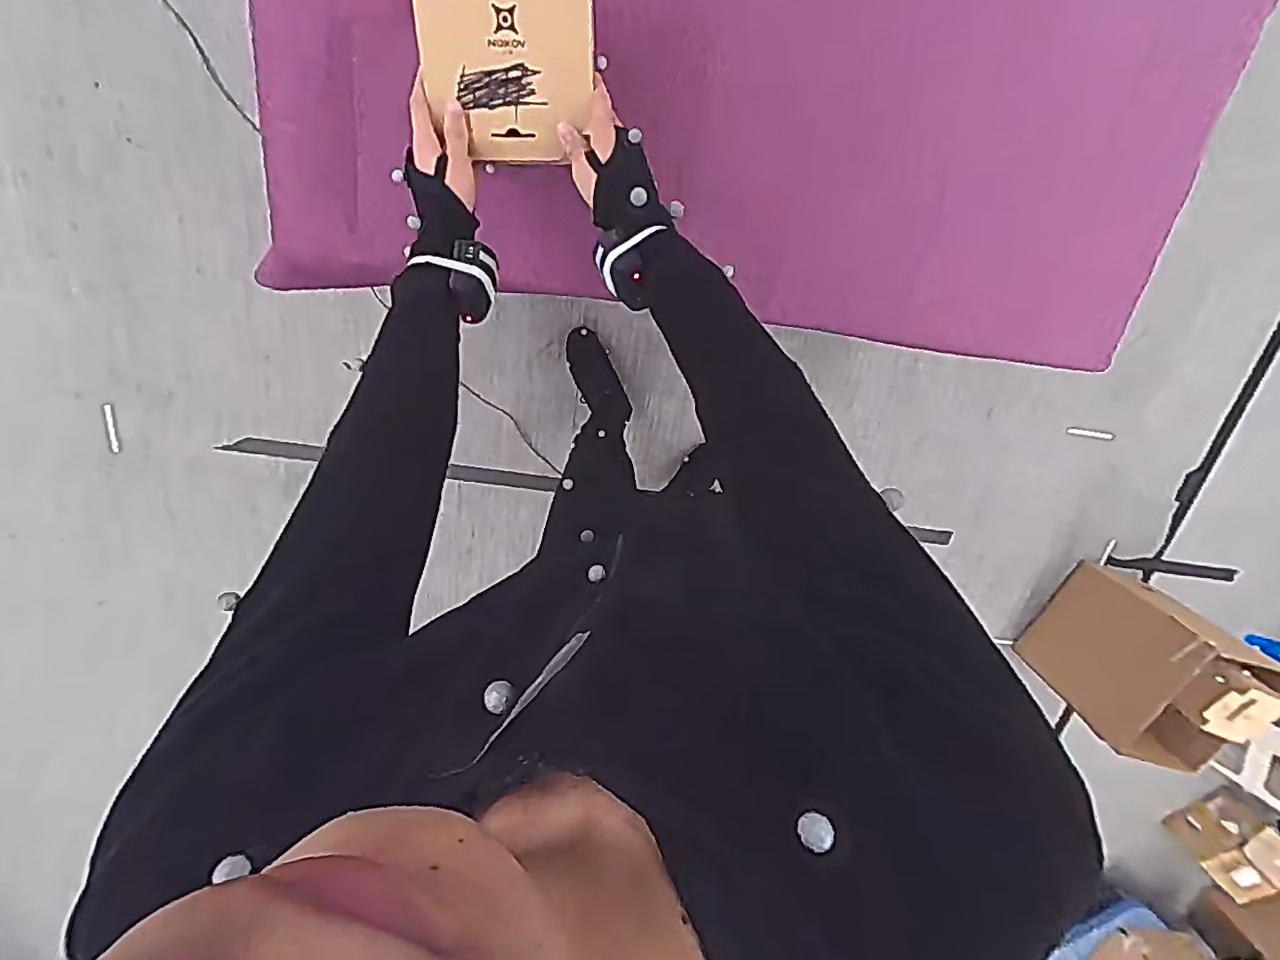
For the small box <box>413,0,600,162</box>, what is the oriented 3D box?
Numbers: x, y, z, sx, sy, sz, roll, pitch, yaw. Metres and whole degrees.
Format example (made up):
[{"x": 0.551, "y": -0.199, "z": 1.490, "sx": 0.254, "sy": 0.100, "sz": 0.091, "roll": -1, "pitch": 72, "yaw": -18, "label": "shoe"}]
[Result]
[{"x": -0.129, "y": -0.449, "z": 0.575, "sx": 0.168, "sy": 0.176, "sz": 0.179, "roll": -2, "pitch": 112, "yaw": -3, "label": "small box"}]
